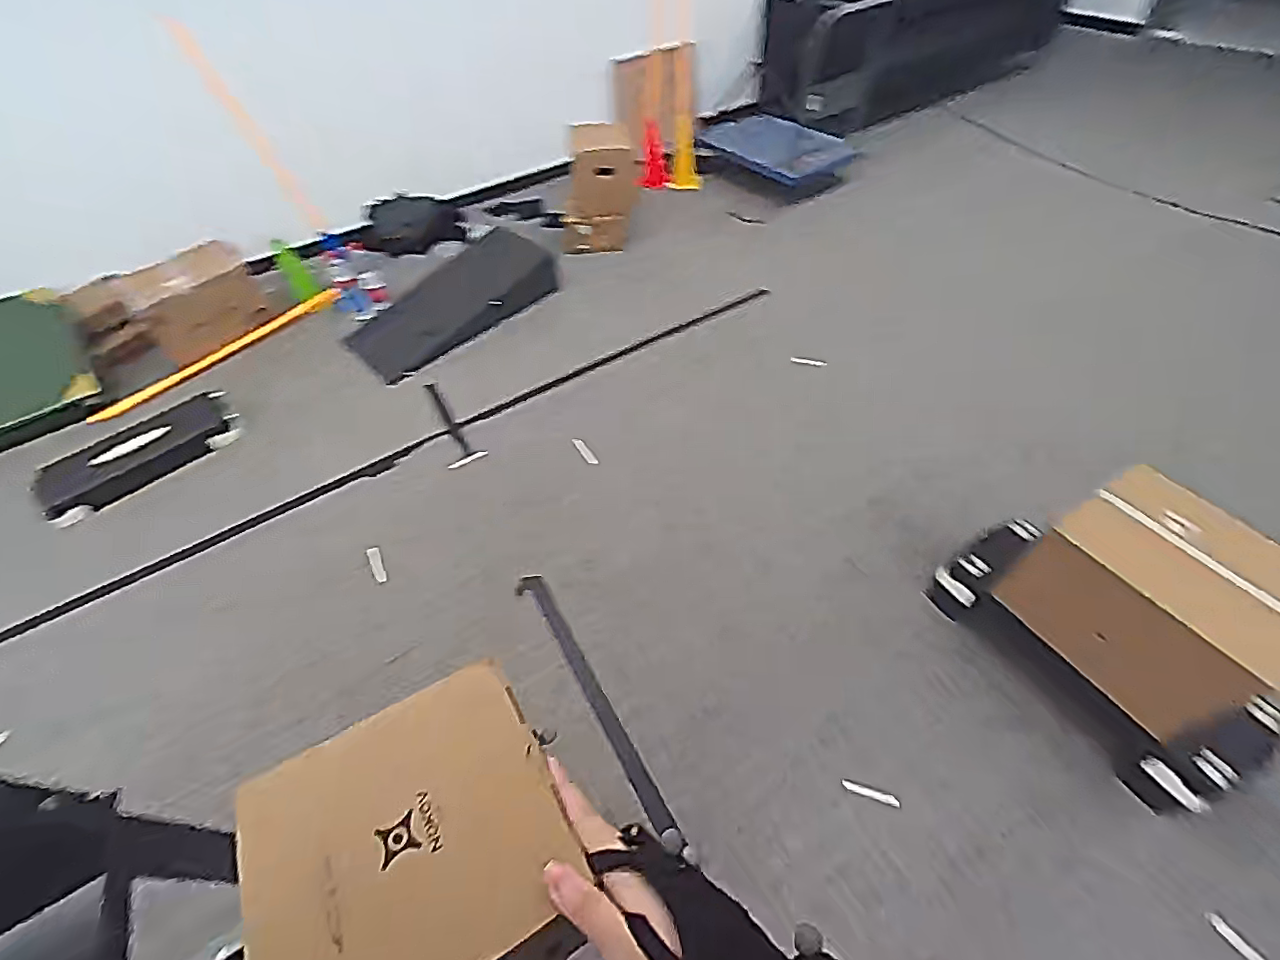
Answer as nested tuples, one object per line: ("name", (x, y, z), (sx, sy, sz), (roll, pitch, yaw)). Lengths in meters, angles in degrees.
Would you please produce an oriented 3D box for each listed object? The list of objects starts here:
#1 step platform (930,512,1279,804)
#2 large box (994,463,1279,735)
("step platform", (1.088, 0.396, 1.346), (0.286, 0.204, 0.684), (-23, 51, -13))
("large box", (1.091, 0.247, 1.158), (0.320, 0.320, 0.408), (-27, 52, -16))
